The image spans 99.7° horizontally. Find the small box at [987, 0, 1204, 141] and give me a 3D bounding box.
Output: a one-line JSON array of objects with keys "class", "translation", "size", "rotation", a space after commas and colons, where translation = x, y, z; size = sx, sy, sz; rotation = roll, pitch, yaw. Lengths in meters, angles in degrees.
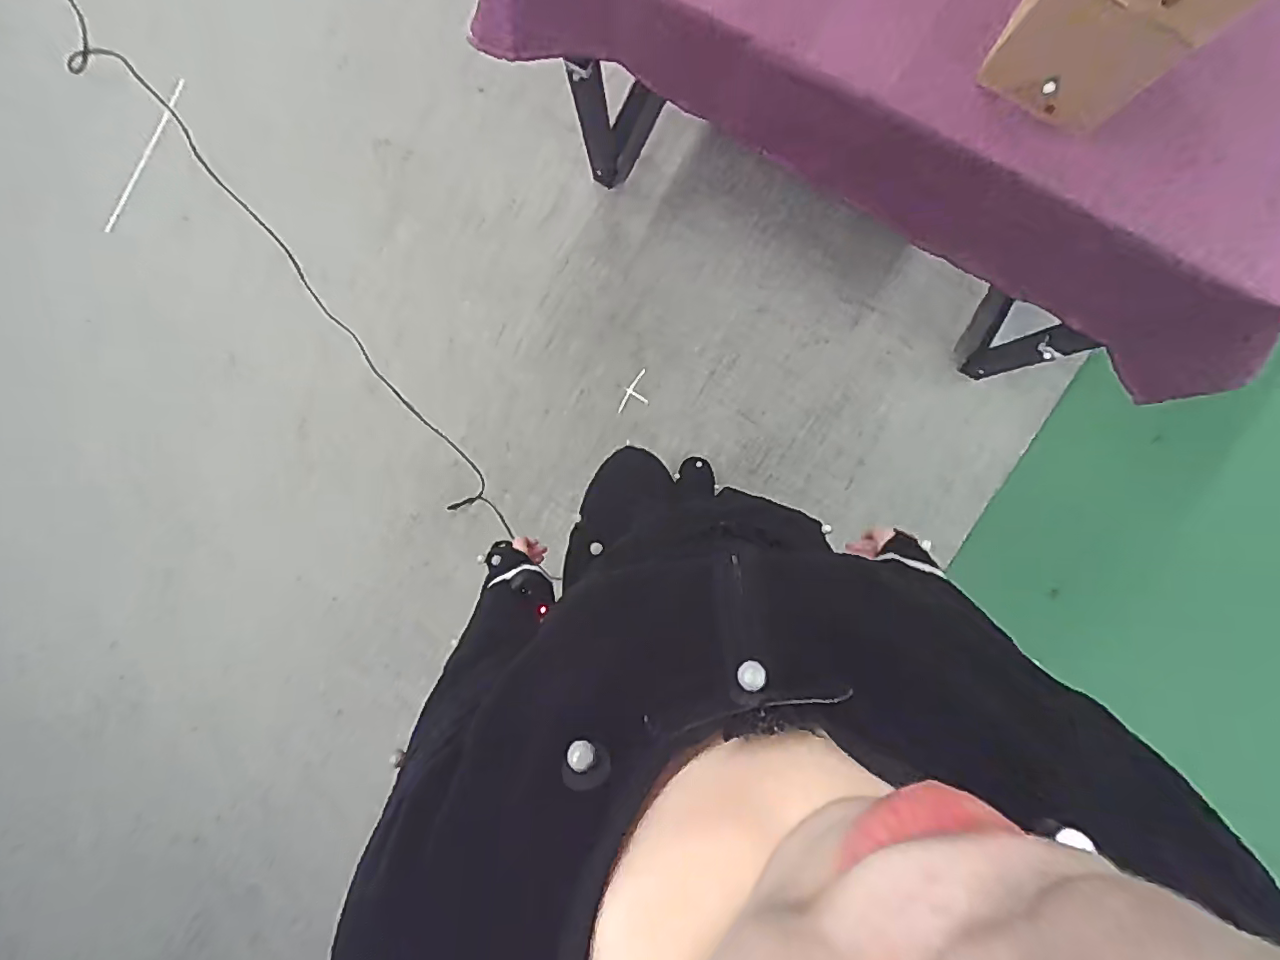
[{"class": "small box", "translation": [0.564, -0.561, 0.643], "size": [0.168, 0.176, 0.179], "rotation": [32, 93, 1]}]
